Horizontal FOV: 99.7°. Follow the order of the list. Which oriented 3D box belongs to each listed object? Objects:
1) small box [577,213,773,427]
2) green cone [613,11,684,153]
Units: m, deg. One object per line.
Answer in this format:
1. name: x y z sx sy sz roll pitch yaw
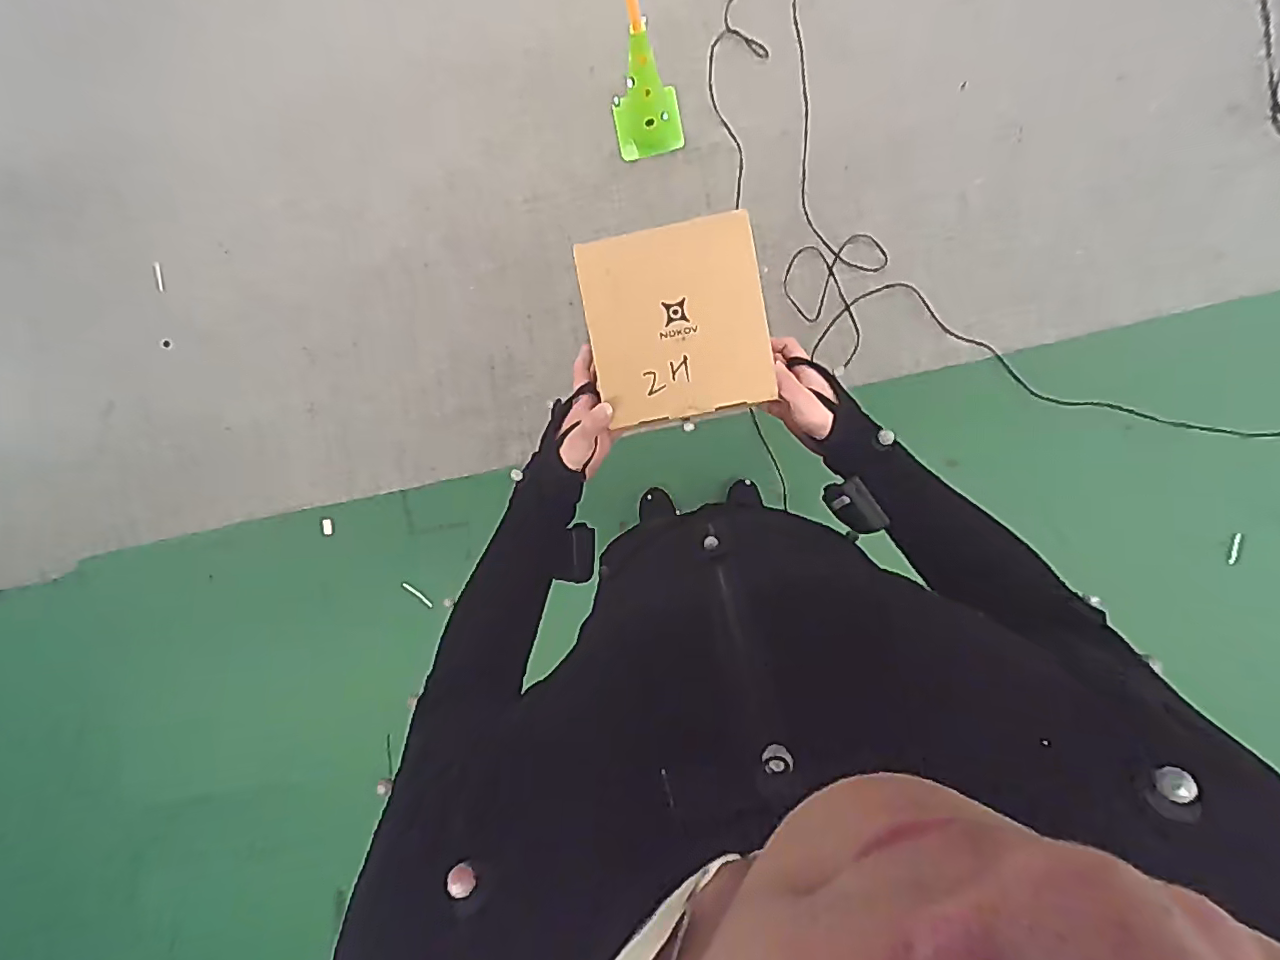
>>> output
1. small box: 0.036 -0.156 0.588 0.168 0.176 0.179 -10 95 4
2. green cone: 0.014 -1.121 1.499 0.202 0.368 0.200 -11 89 4
